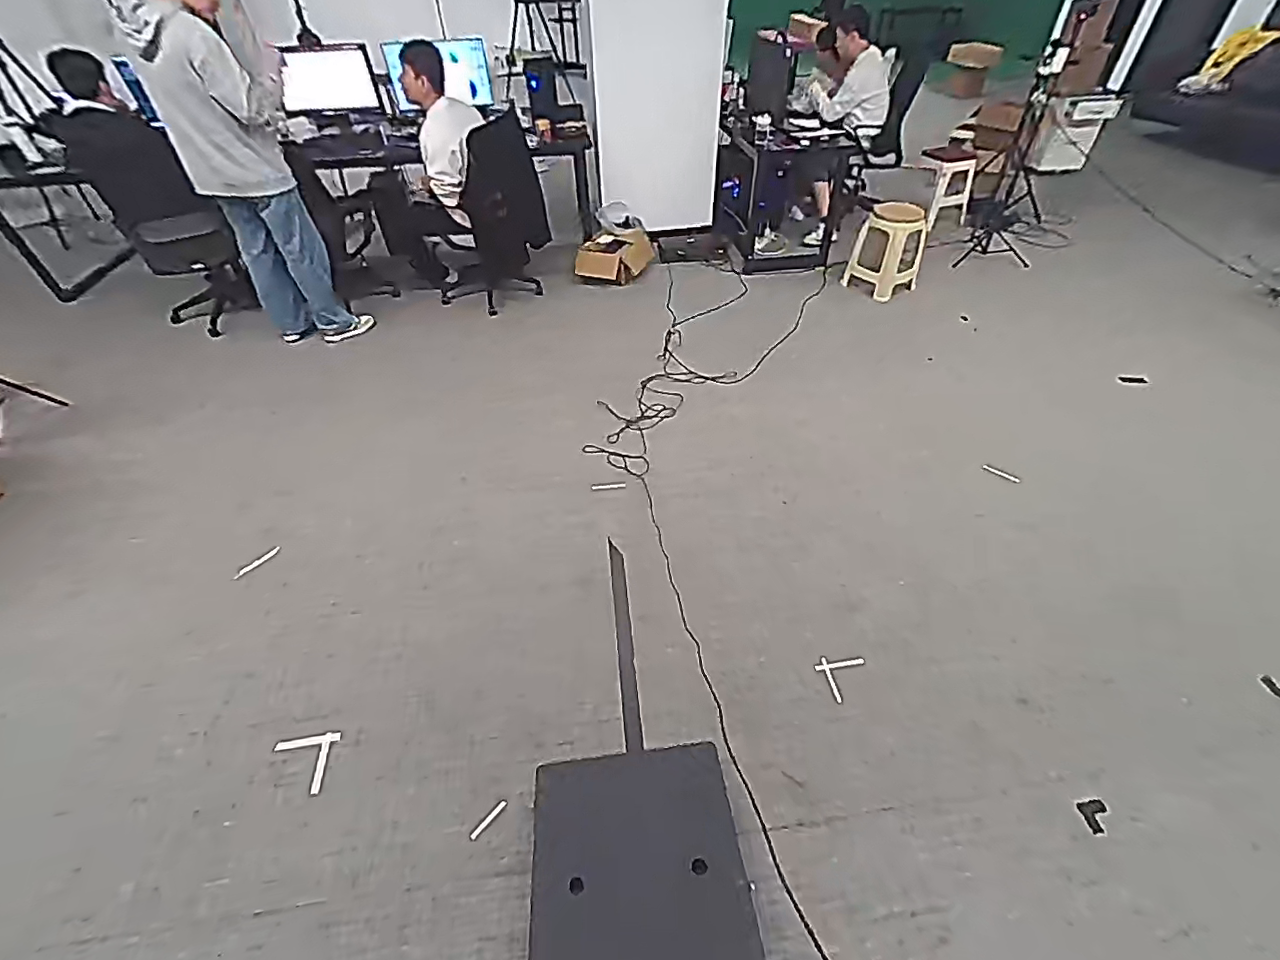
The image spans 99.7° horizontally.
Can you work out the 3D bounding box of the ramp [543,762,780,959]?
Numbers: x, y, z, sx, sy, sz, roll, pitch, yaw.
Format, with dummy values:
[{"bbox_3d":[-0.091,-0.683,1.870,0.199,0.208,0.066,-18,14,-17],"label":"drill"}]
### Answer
[{"bbox_3d":[0.054,1.057,1.032,0.509,0.206,0.991,-9,42,-4],"label":"ramp"}]
